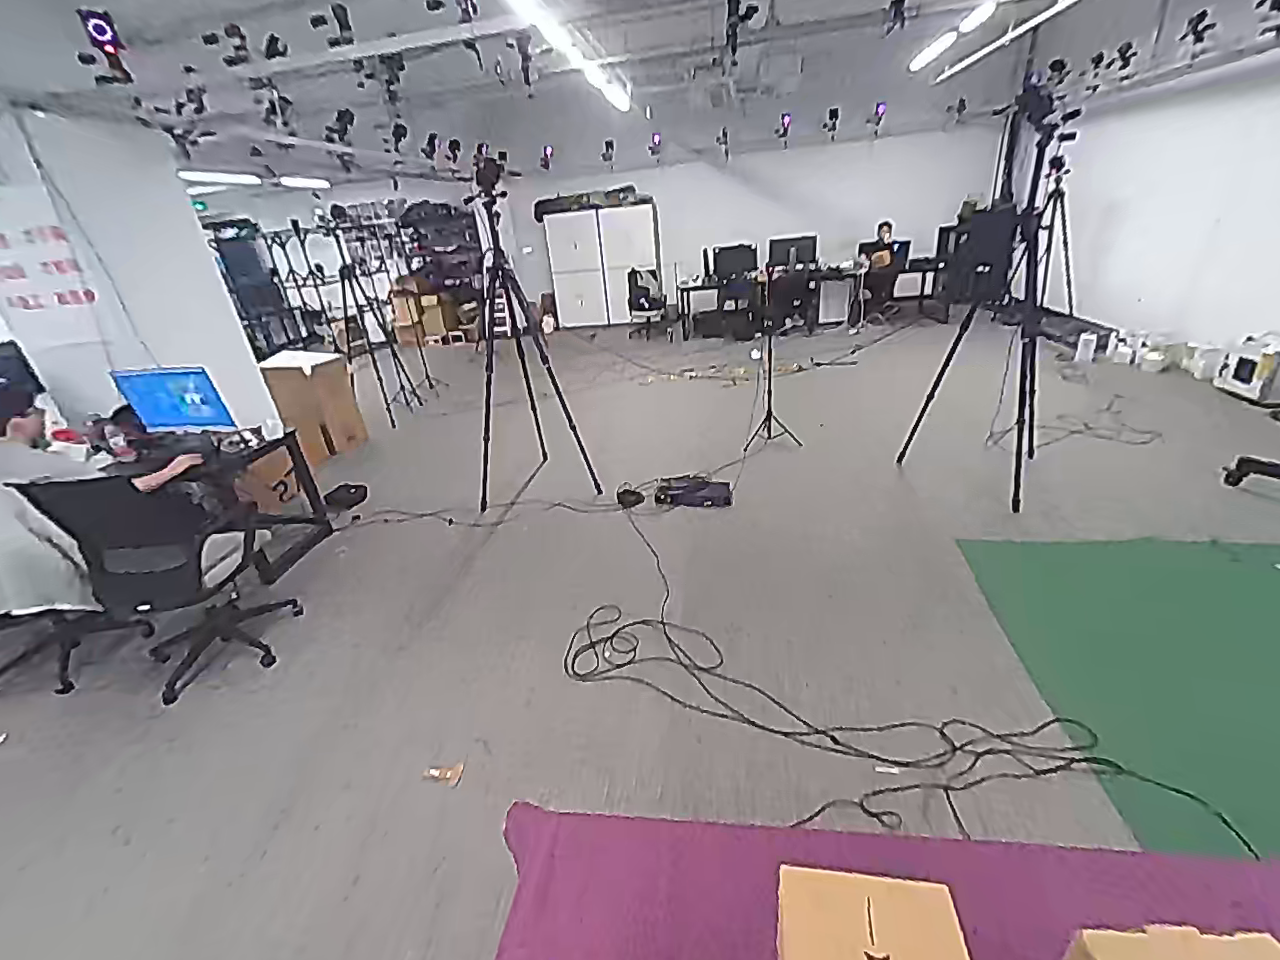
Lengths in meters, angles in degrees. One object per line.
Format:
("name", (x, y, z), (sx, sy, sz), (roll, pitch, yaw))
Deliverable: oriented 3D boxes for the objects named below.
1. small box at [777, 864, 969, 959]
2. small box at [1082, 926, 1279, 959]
("small box", (0.218, 0.513, 0.511), (0.168, 0.176, 0.179), (0, 26, 11))
("small box", (0.484, 0.515, 0.443), (0.168, 0.176, 0.179), (-4, 25, 6))
